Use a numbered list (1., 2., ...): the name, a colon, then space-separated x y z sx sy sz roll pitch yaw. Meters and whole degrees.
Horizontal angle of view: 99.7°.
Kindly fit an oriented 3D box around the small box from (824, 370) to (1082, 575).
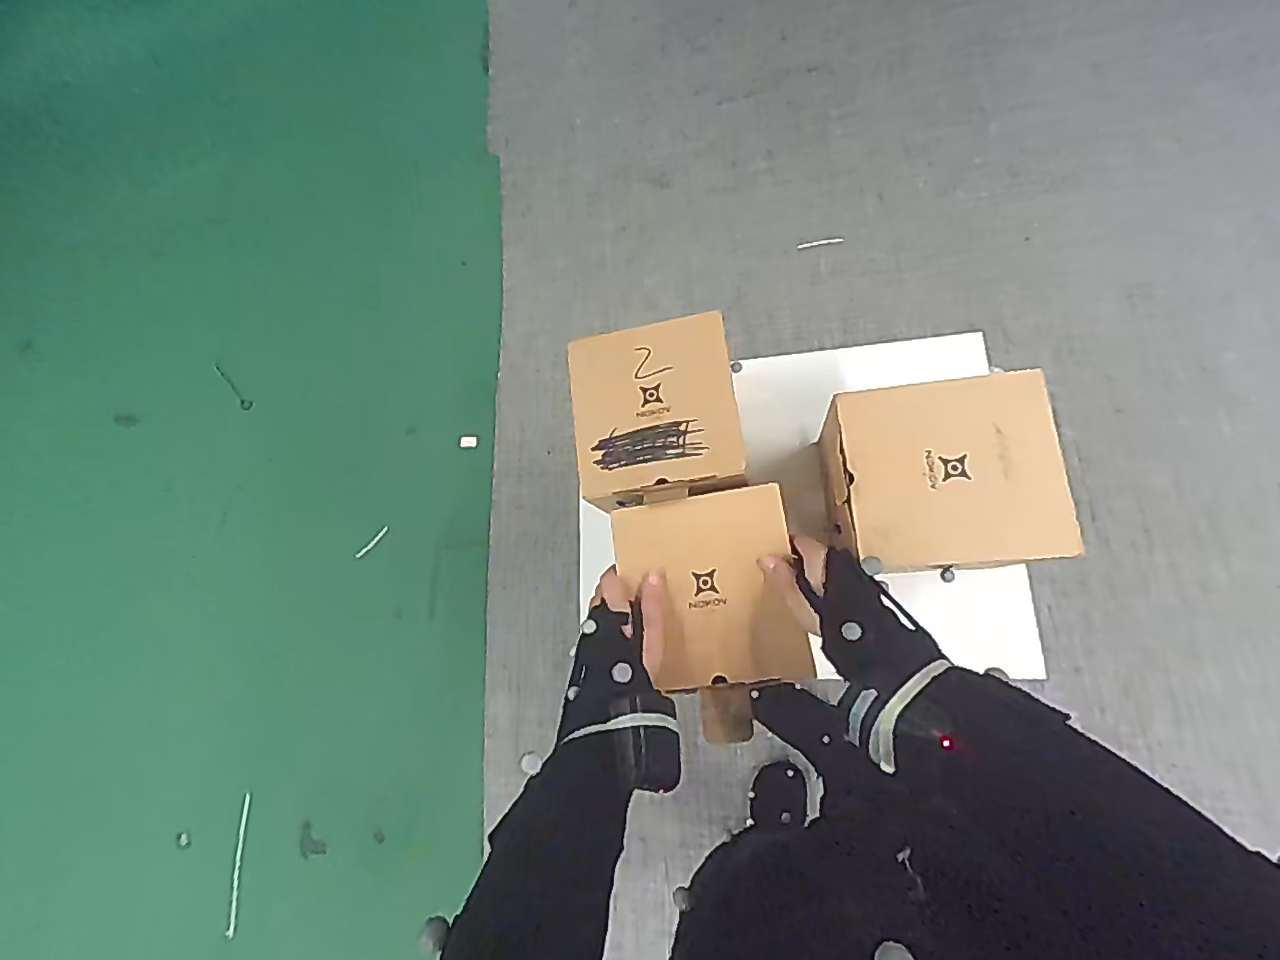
1. small box: 0.287 0.007 0.547 0.179 0.176 0.168 -6 78 11
